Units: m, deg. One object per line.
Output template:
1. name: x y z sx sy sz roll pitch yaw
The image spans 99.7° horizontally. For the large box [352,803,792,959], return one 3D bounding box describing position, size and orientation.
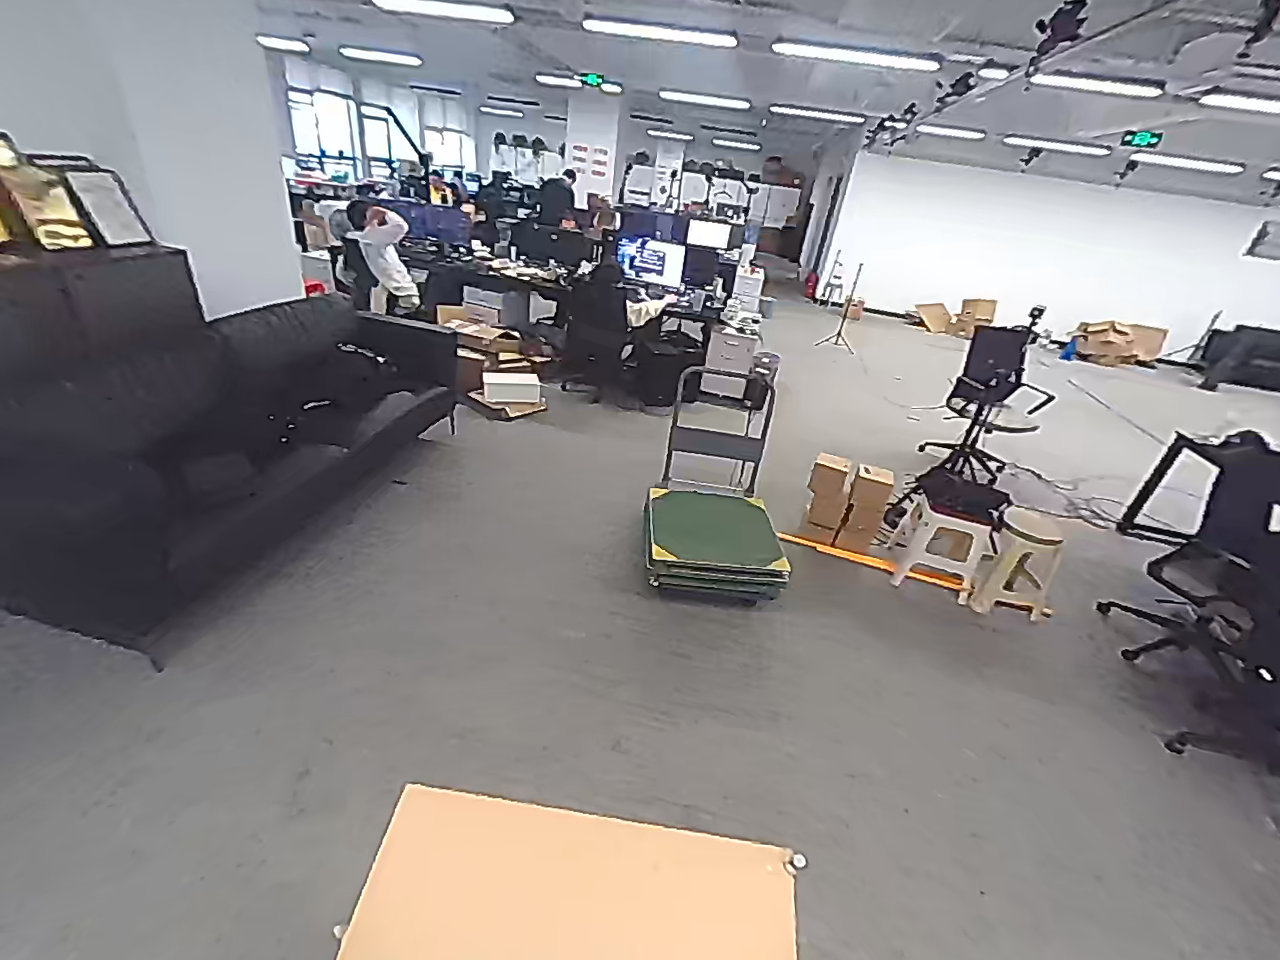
1. large box: -0.075 0.572 0.564 0.408 0.320 0.320 8 47 2
